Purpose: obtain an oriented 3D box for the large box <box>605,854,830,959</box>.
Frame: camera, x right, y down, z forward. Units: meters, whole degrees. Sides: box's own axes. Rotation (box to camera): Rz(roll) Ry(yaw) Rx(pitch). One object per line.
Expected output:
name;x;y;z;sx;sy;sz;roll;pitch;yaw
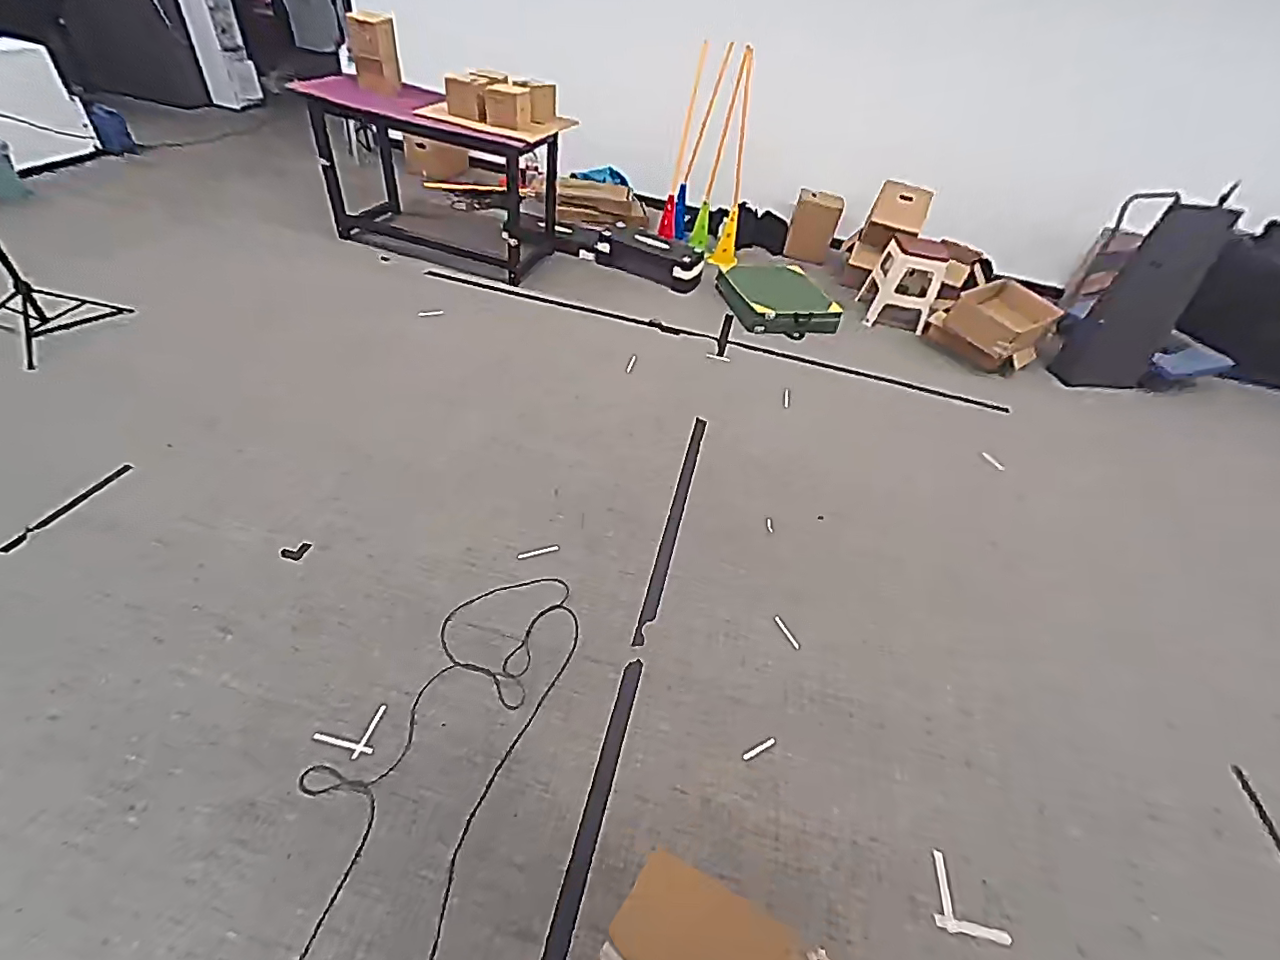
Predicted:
large box;0.145;0.770;0.682;0.320;0.408;0.320;42;61;-5
